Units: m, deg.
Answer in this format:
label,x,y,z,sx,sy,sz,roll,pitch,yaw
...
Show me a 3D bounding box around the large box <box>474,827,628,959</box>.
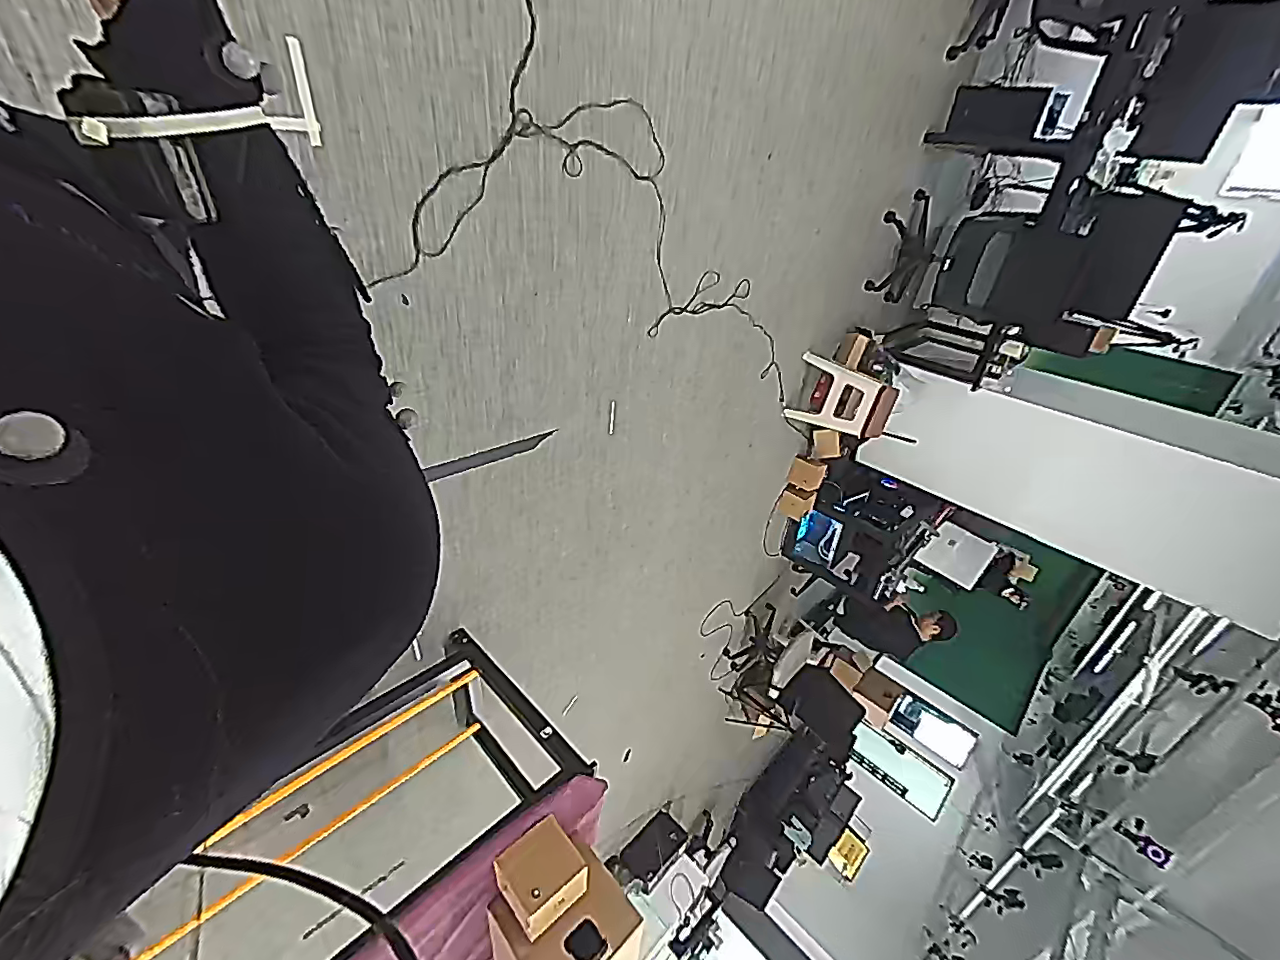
label,x,y,z,sx,sy,sz,roll,pitch,yaw
large box,-0.256,1.328,1.569,0.320,0.320,0.408,-23,130,-39
